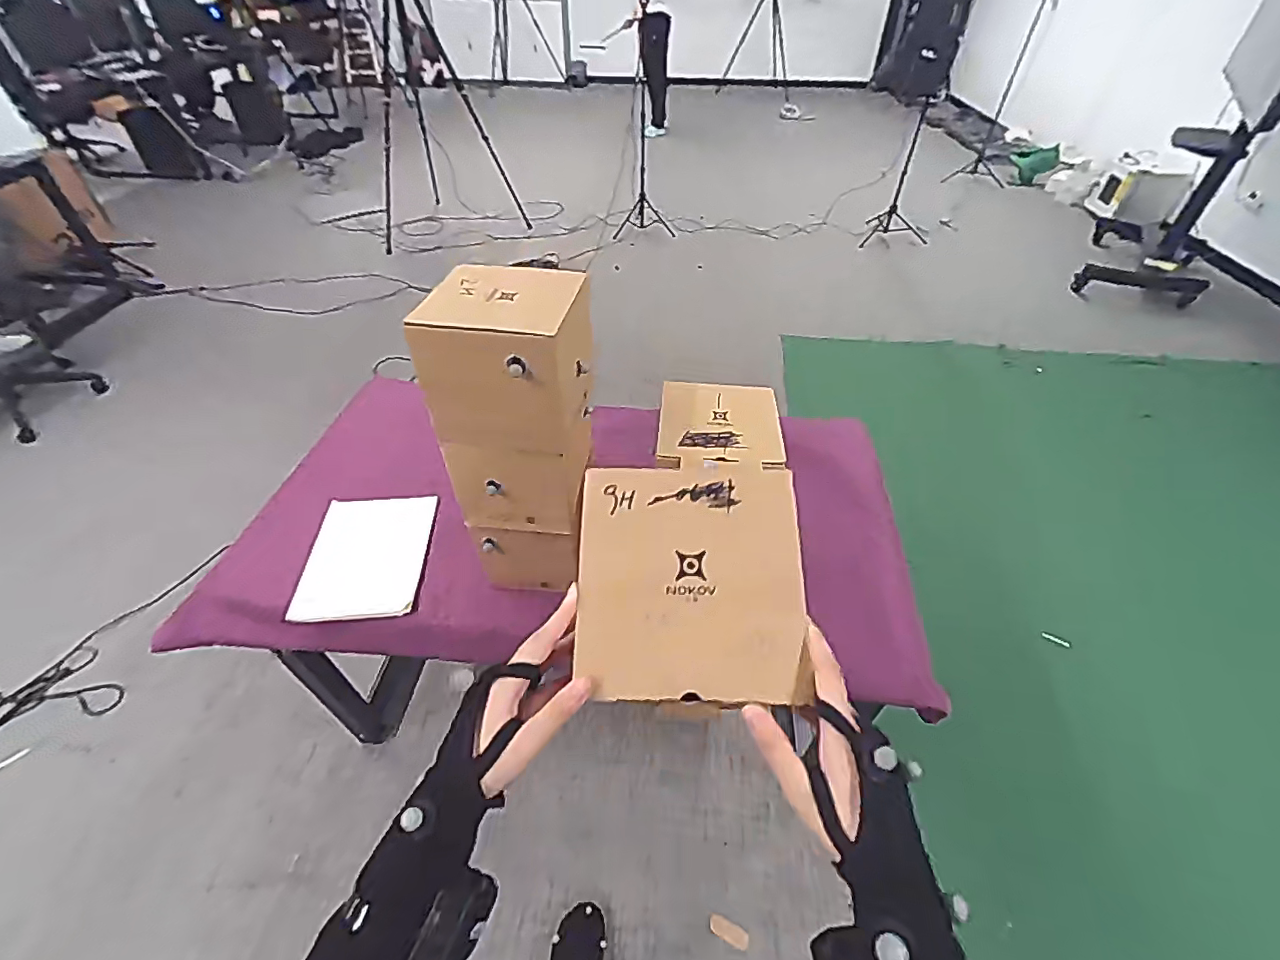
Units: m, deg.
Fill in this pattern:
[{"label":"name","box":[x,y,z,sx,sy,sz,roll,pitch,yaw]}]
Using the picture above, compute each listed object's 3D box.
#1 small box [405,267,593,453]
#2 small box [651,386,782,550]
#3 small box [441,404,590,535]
[{"label":"small box","box":[-0.161,-0.151,0.691,0.179,0.176,0.168,6,43,6]},{"label":"small box","box":[0.105,-0.016,0.795,0.168,0.176,0.179,5,43,2]},{"label":"small box","box":[-0.170,-0.036,0.810,0.168,0.176,0.179,5,43,4]}]
